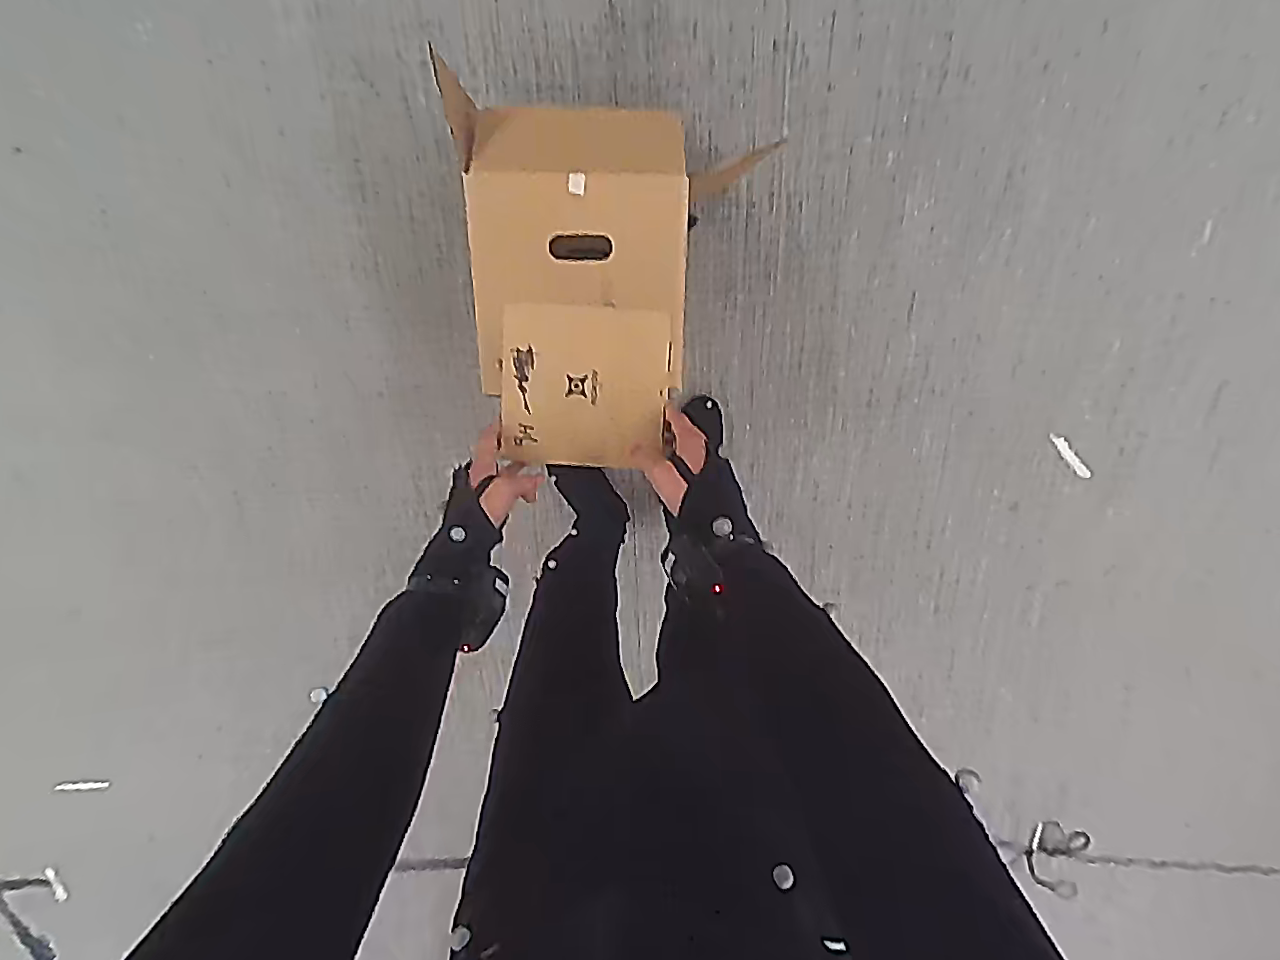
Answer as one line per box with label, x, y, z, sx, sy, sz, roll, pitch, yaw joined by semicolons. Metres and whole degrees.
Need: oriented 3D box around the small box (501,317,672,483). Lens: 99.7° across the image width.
small box;-0.059;-0.099;0.651;0.179;0.176;0.168;4;101;0
